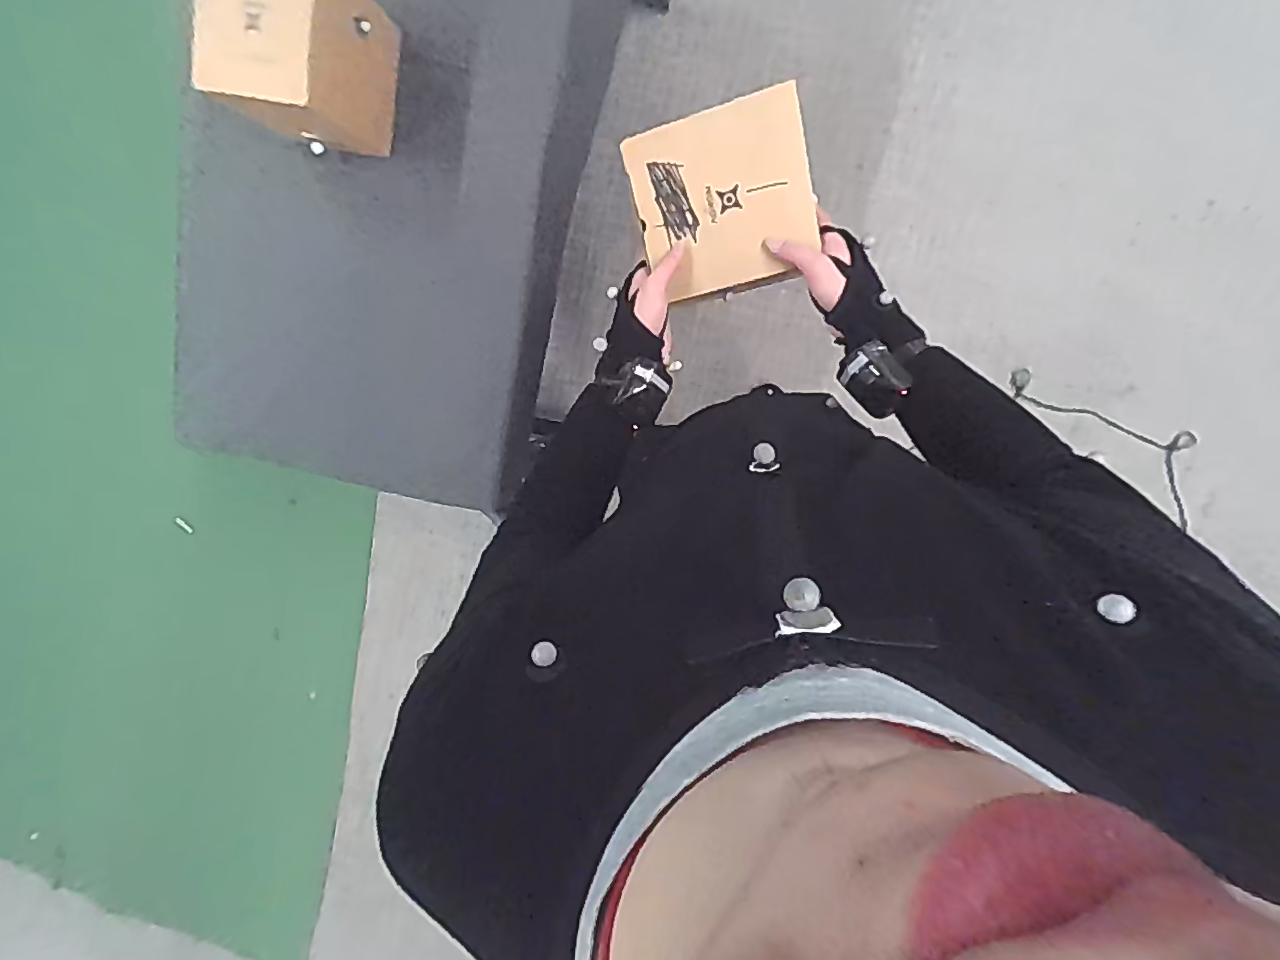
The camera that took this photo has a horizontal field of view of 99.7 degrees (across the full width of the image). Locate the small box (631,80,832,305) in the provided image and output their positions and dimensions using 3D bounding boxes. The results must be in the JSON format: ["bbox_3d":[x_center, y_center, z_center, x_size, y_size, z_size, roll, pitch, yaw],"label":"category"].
[{"bbox_3d":[0.105,-0.298,0.607,0.179,0.176,0.168,-10,105,13],"label":"small box"}]

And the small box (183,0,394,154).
[{"bbox_3d":[-0.449,-0.565,0.712,0.168,0.176,0.179,13,104,7],"label":"small box"}]
